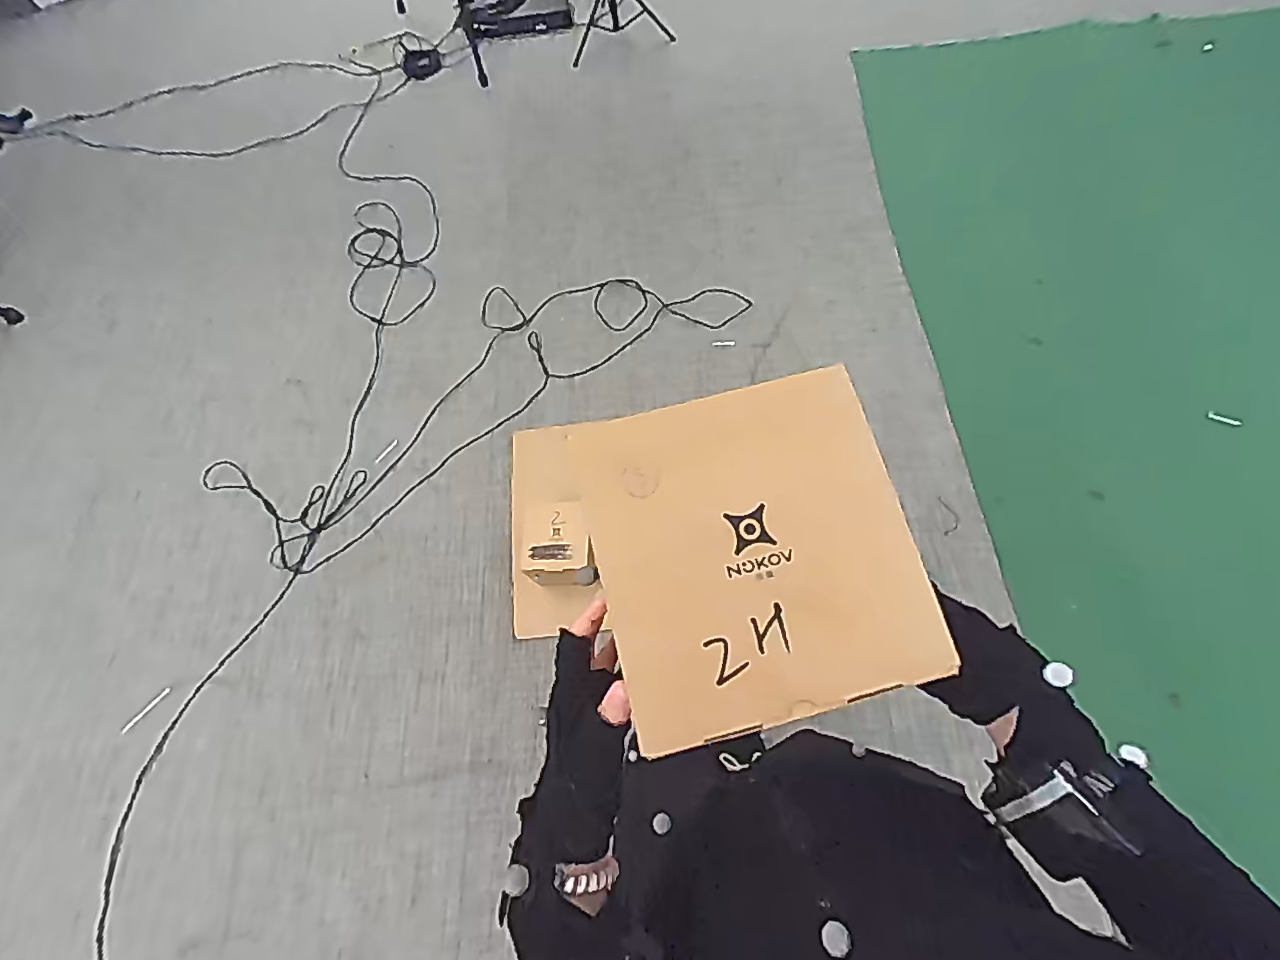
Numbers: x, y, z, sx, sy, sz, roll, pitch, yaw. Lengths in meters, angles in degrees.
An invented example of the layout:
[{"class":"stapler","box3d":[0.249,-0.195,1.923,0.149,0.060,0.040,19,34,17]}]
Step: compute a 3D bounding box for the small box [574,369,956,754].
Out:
[{"class":"small box","box3d":[0.061,0.055,0.365,0.168,0.176,0.179,-15,76,-2]}]
